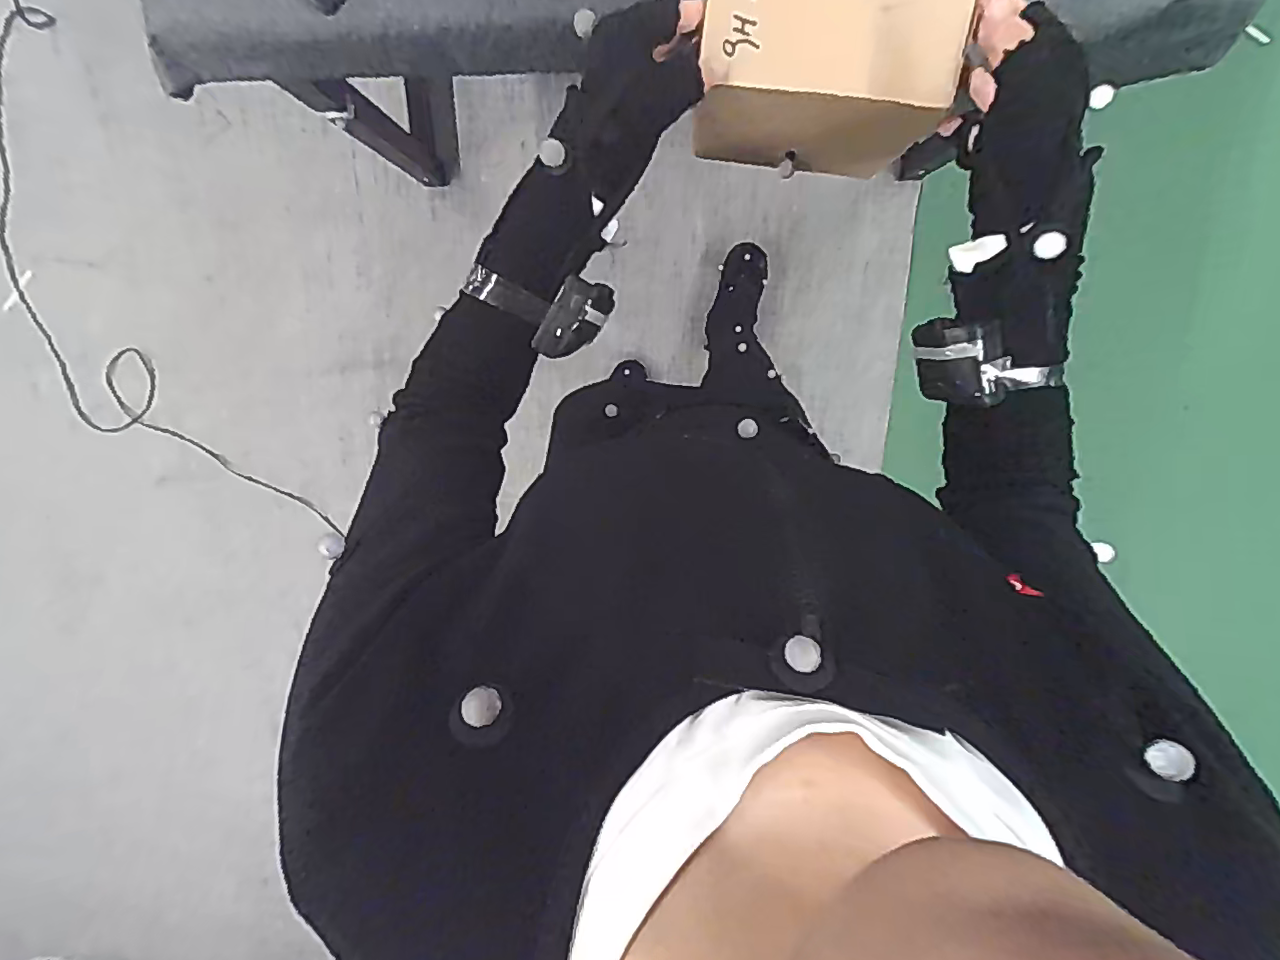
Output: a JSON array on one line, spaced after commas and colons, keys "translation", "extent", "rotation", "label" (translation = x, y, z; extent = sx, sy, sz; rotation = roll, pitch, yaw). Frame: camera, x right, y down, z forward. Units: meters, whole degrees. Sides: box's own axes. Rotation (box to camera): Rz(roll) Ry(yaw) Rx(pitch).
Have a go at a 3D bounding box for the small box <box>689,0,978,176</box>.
[{"translation": [0.139, -0.356, 0.421], "extent": [0.179, 0.176, 0.168], "rotation": [9, 104, 1], "label": "small box"}]
